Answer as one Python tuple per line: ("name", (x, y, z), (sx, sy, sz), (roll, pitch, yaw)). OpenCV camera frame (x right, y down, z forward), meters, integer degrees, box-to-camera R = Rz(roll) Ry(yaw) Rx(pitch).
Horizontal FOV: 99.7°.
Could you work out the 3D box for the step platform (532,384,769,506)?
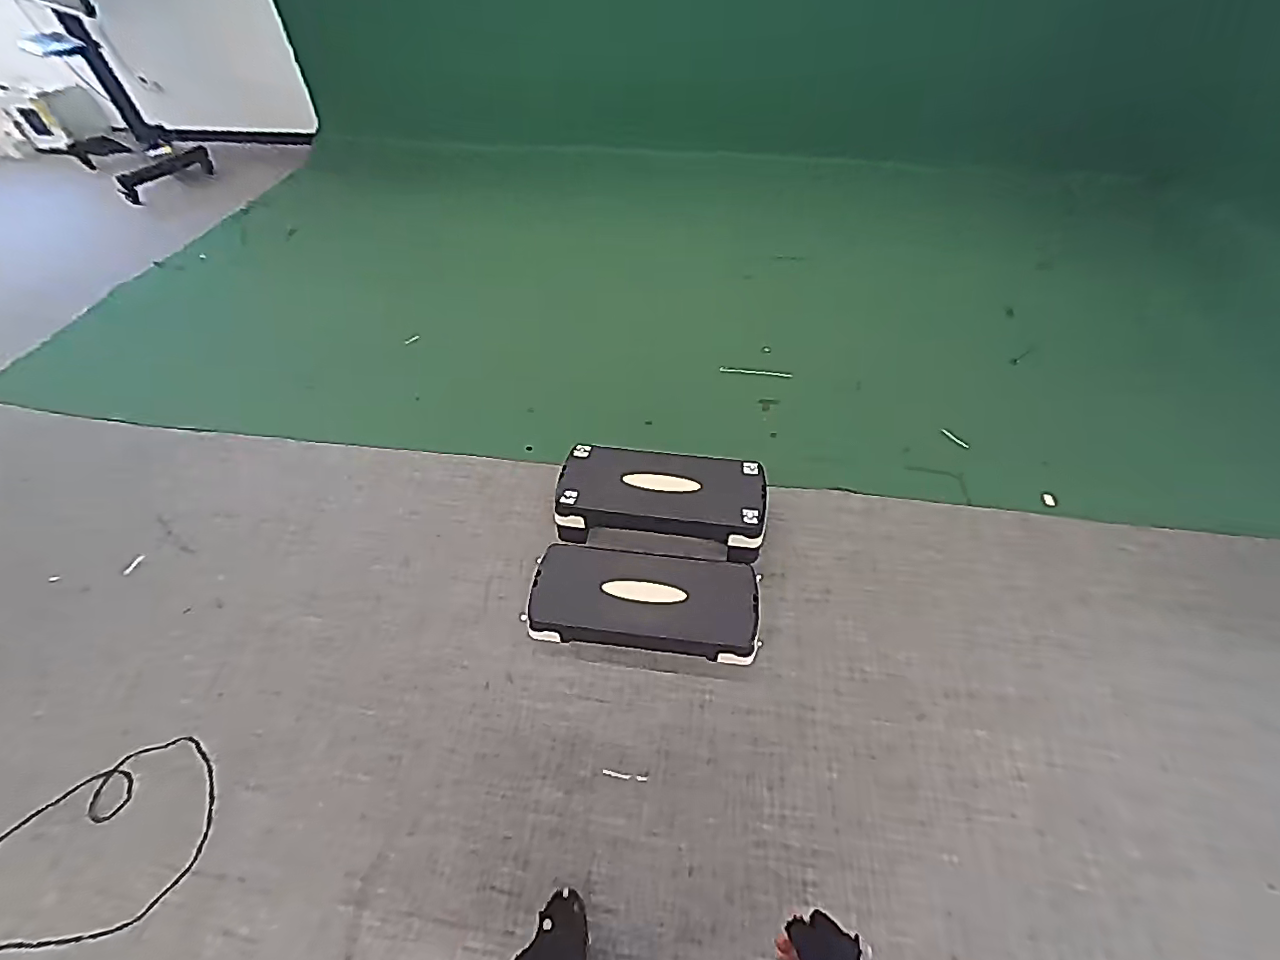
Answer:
("step platform", (0.033, -0.106, 1.643), (0.684, 0.204, 0.286), (5, 51, 6))
